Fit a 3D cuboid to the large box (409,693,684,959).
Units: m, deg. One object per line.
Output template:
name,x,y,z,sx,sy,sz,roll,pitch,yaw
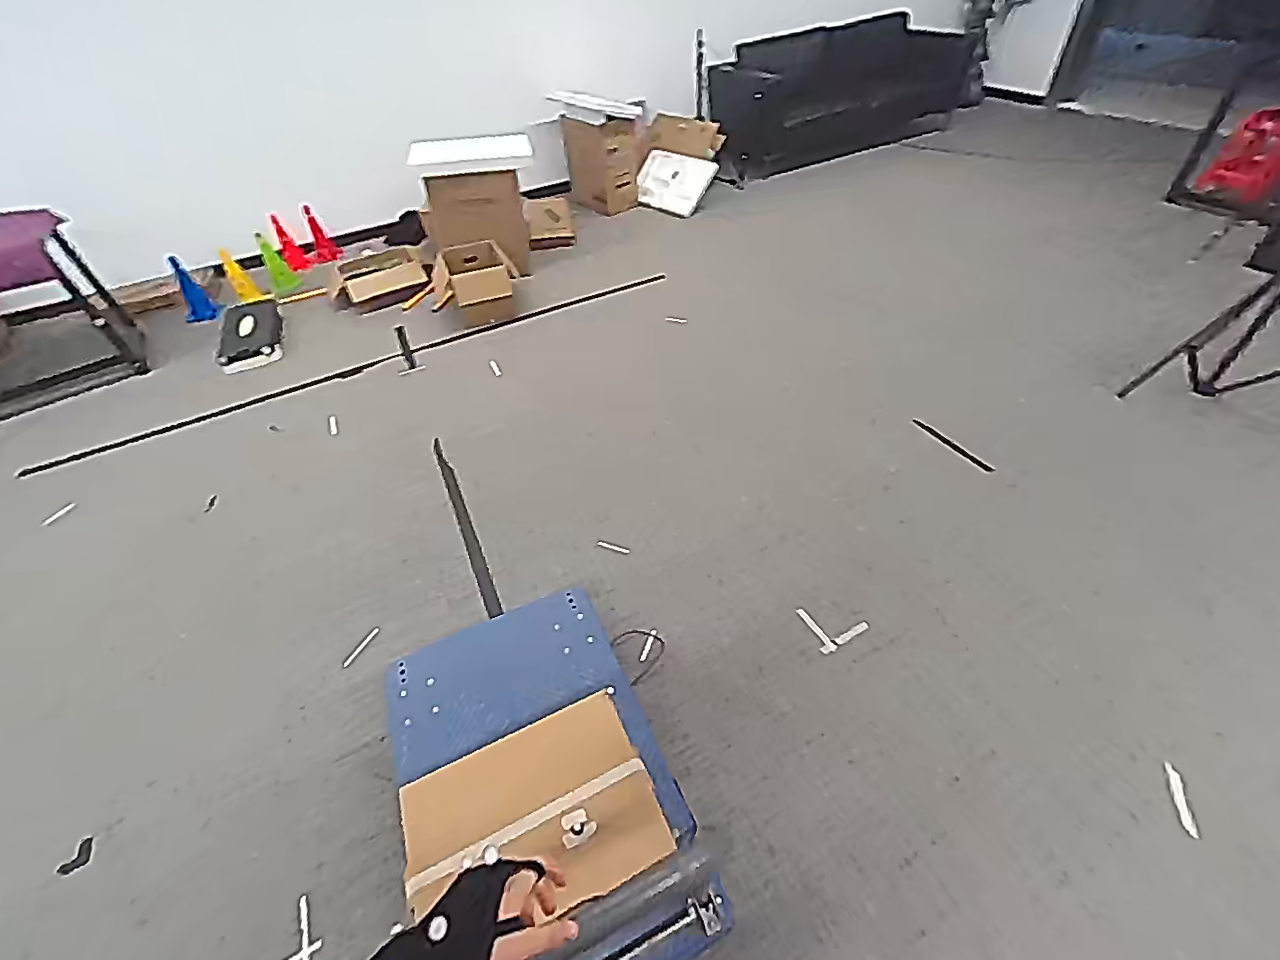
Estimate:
large box,-0.163,0.688,1.018,0.408,0.320,0.320,-21,47,-16
